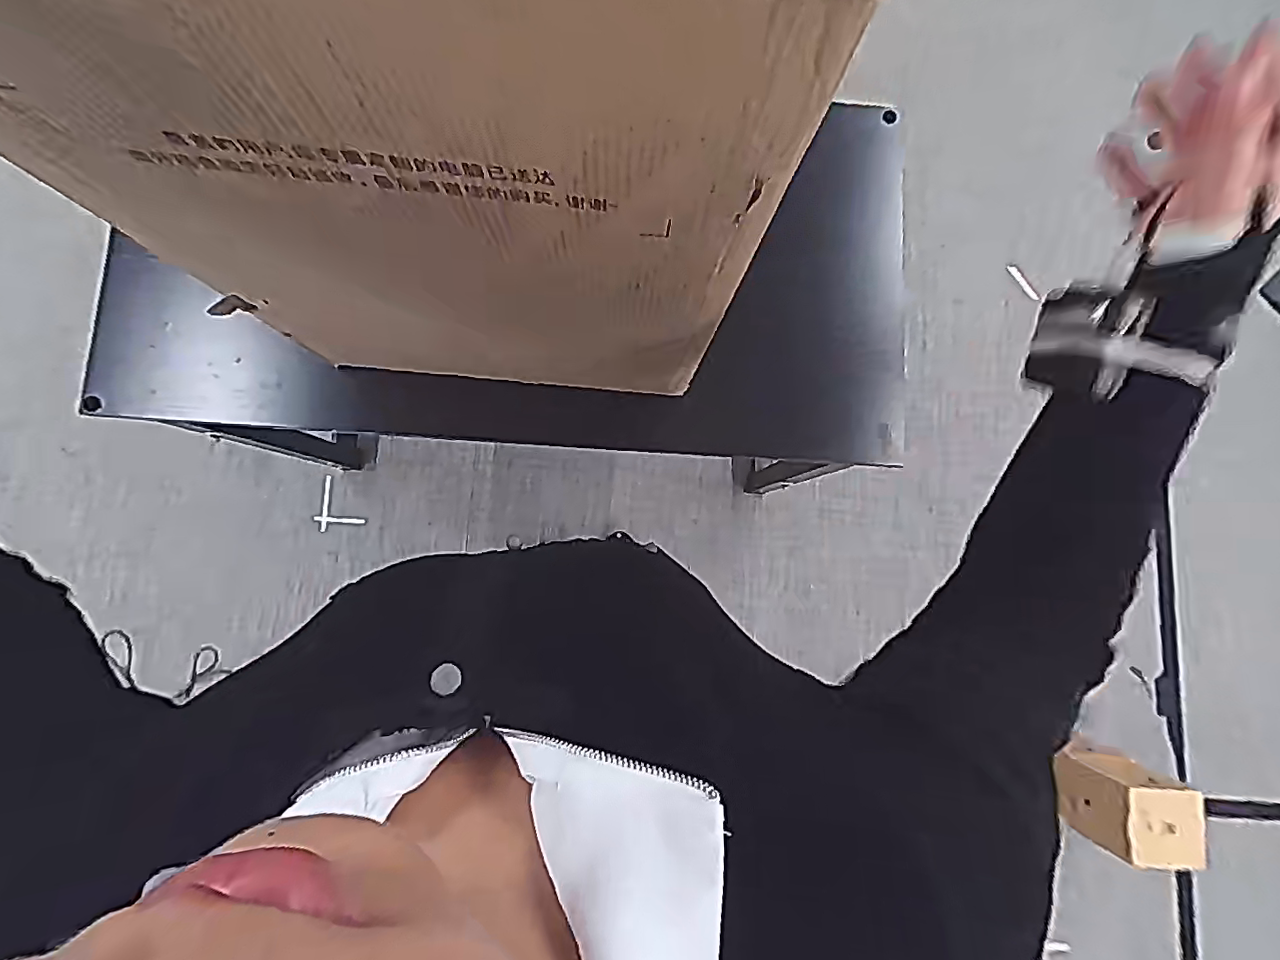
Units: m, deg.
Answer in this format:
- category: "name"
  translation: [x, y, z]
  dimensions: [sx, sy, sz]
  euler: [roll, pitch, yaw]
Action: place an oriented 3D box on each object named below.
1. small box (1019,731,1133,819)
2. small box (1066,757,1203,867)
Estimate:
- category: "small box"
  translation: [1.155, 0.784, 1.439]
  dimensions: [0.179, 0.176, 0.168]
  euler: [4, 83, -2]
- category: "small box"
  translation: [1.155, 0.773, 1.273]
  dimensions: [0.179, 0.176, 0.168]
  euler: [5, 83, -3]
